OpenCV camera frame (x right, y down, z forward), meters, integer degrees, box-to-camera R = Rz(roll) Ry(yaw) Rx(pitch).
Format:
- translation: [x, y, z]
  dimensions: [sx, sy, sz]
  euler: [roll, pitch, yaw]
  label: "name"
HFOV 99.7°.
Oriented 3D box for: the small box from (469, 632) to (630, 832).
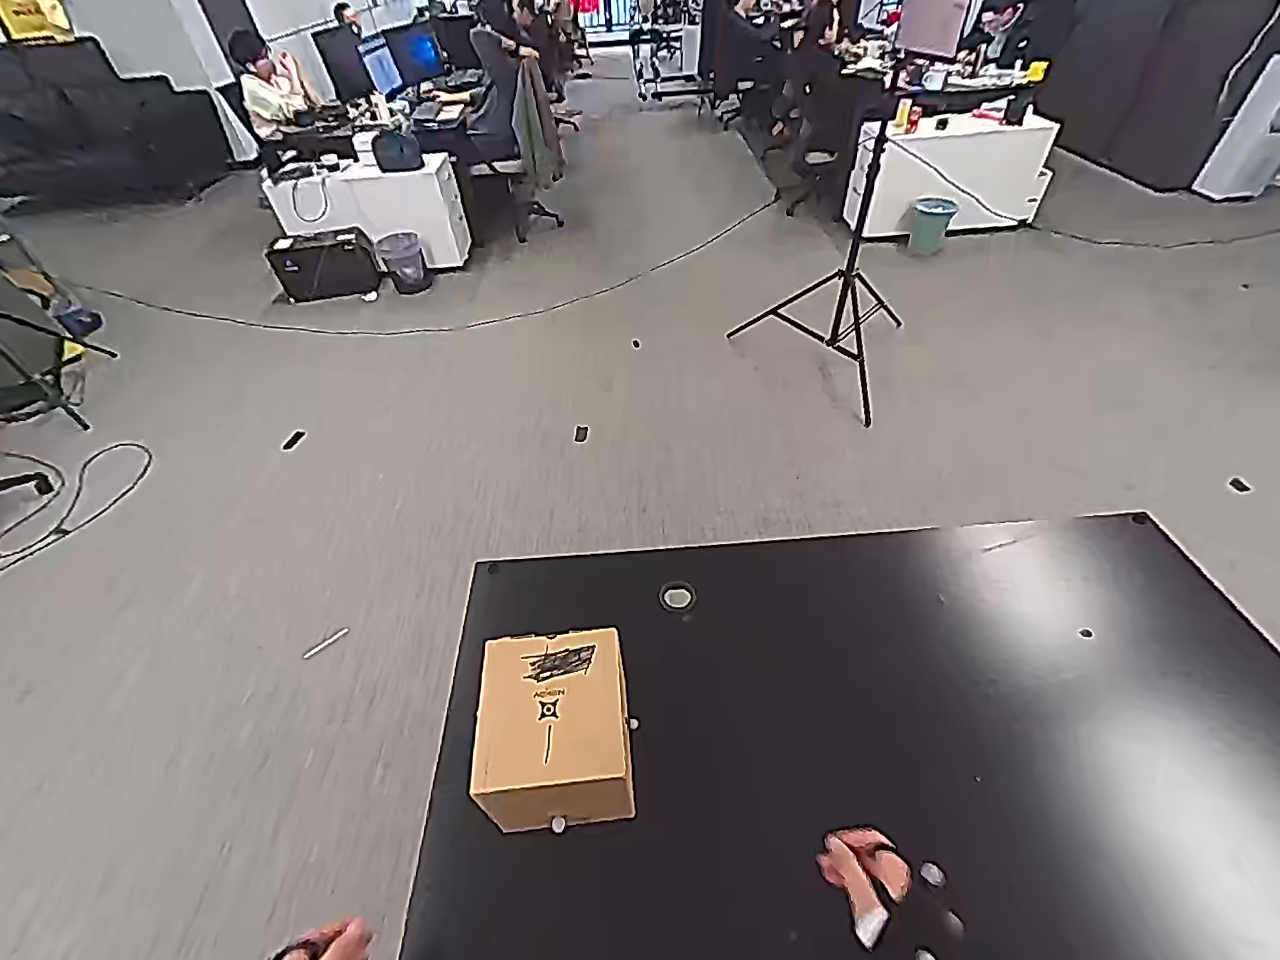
- translation: [-0.102, 0.317, 0.682]
  dimensions: [0.168, 0.176, 0.179]
  euler: [-6, 46, -2]
  label: "small box"
